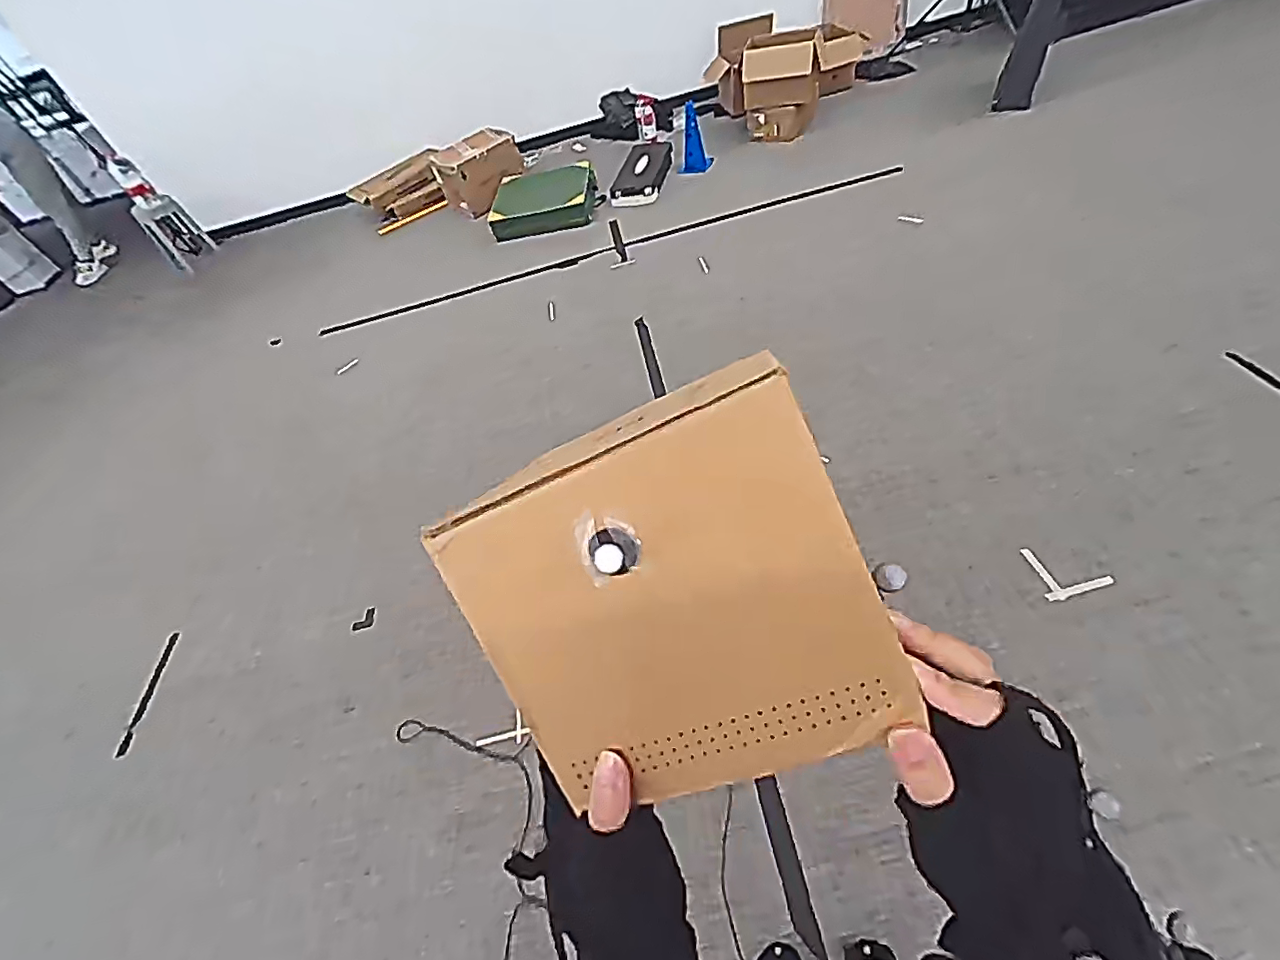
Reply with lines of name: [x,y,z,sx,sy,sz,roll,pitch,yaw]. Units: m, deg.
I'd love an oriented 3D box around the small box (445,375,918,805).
small box: [0.030,0.056,0.324,0.179,0.176,0.168,-24,10,16]
